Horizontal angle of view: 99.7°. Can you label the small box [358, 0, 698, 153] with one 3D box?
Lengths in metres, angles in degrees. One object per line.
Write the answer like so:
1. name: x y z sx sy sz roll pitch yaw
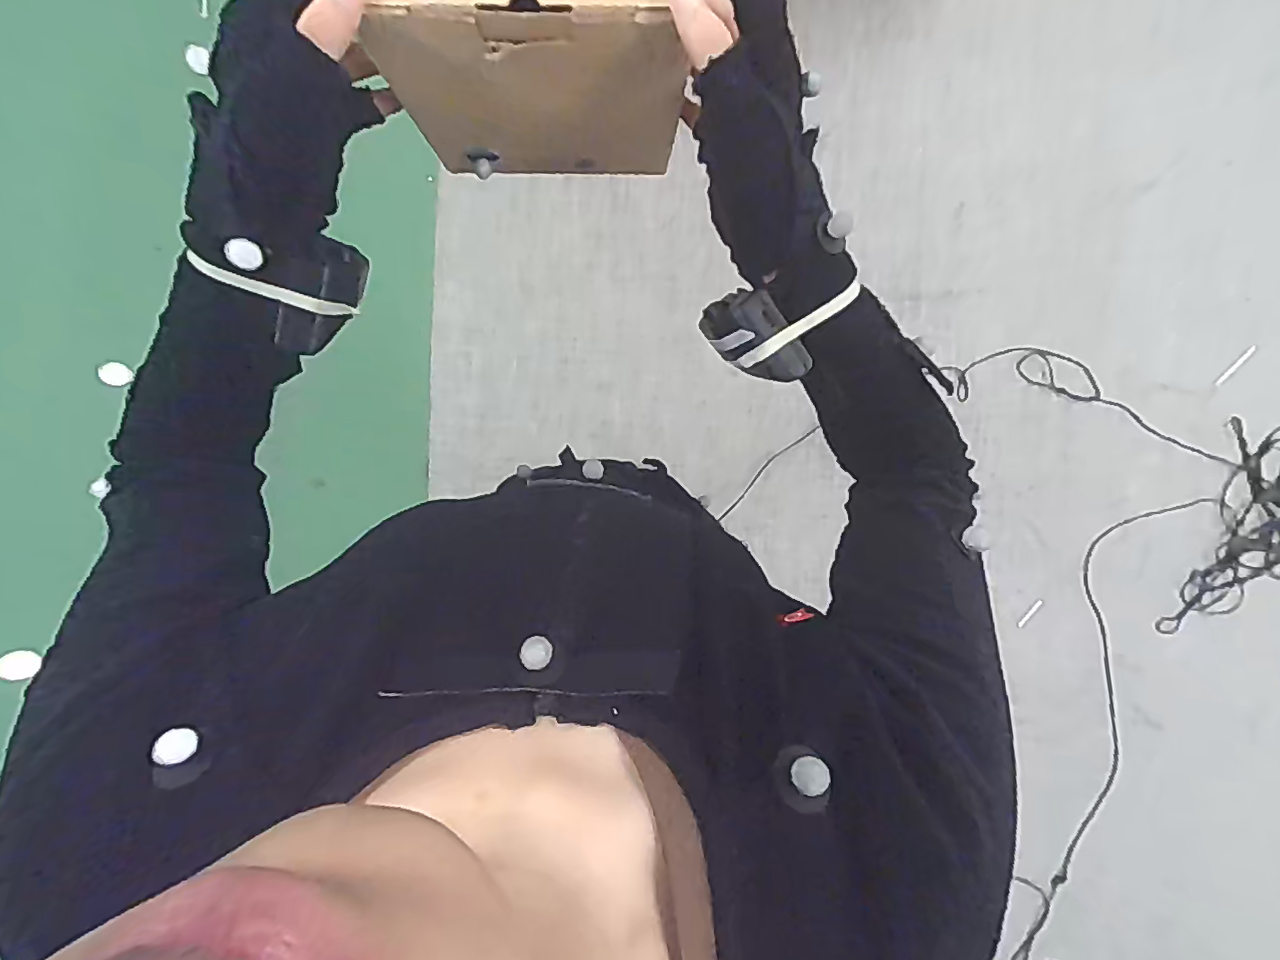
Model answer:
1. small box: -0.053 -0.315 0.310 0.168 0.176 0.179 -1 96 -3
